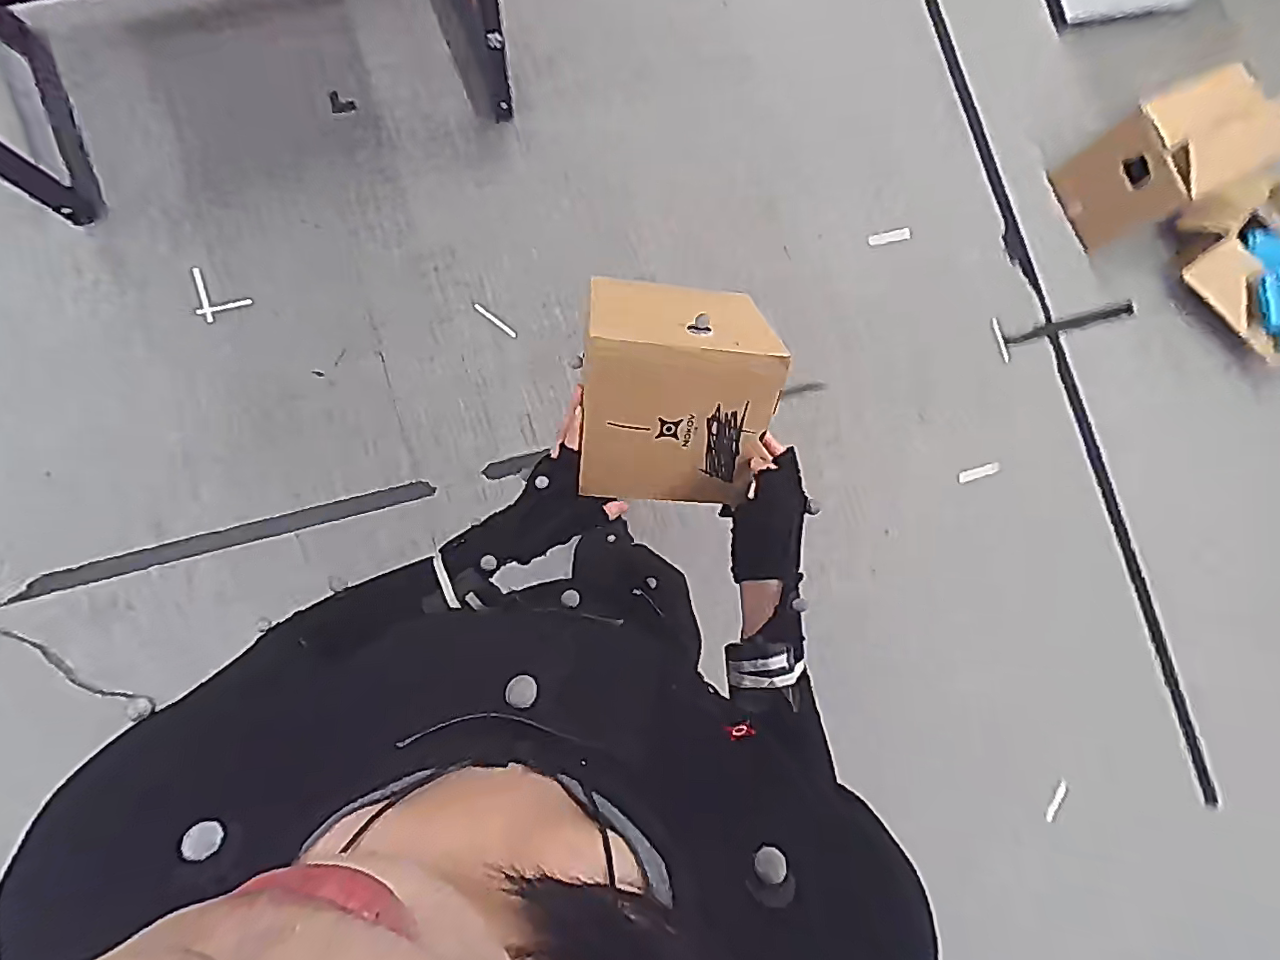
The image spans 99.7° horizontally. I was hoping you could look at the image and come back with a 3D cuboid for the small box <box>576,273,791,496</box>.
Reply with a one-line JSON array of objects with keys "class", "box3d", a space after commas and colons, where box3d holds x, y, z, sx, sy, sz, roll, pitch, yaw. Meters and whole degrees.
[{"class": "small box", "box3d": [0.027, -0.102, 0.554, 0.179, 0.176, 0.168, 3, 126, -8]}]
